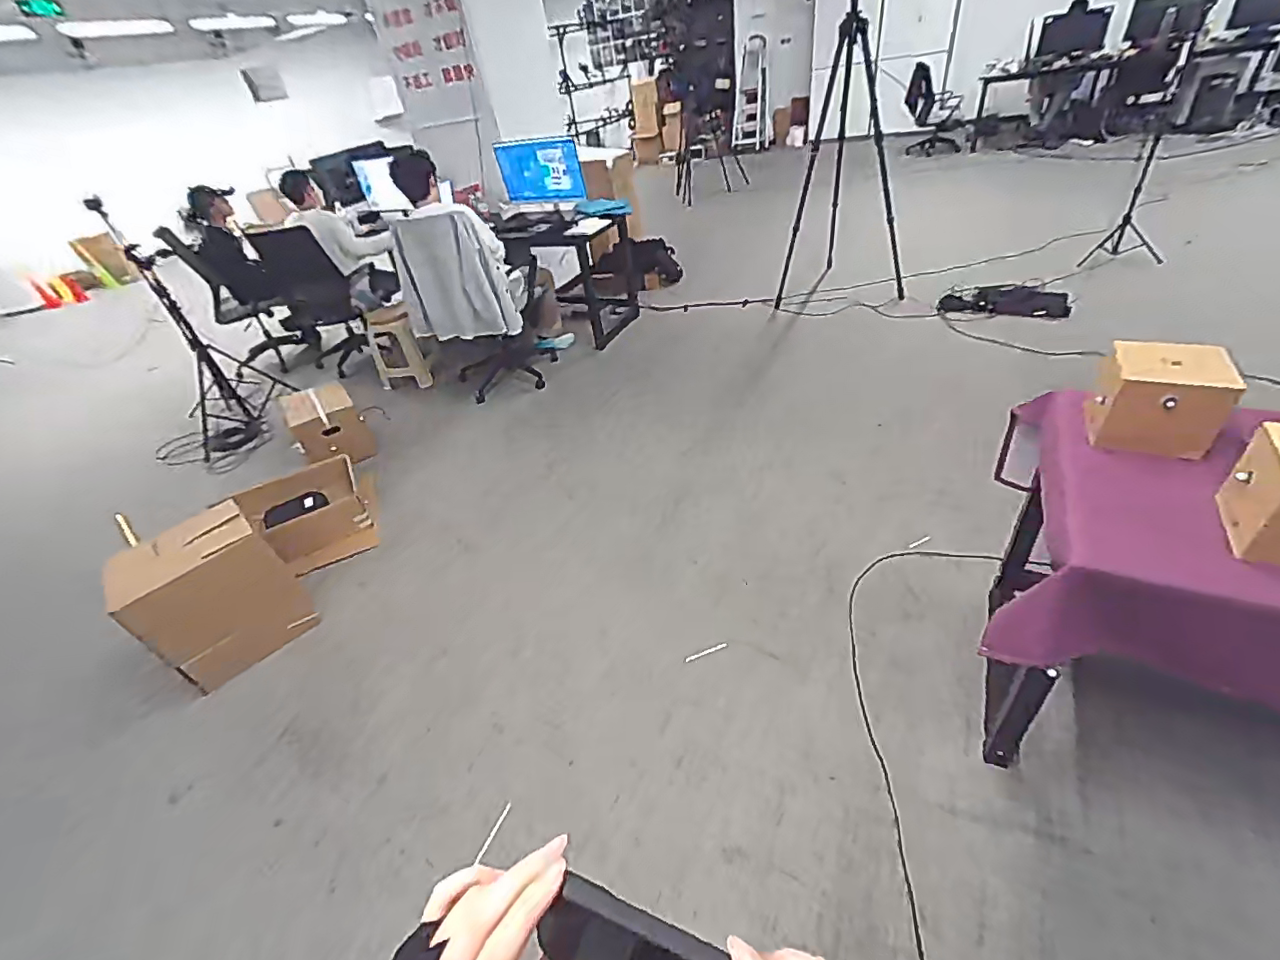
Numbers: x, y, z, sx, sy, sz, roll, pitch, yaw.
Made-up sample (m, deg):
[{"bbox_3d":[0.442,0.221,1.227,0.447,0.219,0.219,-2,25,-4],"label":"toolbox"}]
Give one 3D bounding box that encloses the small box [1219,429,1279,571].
[{"bbox_3d":[1.064,0.044,0.844,0.179,0.176,0.168,14,43,27],"label":"small box"}]
